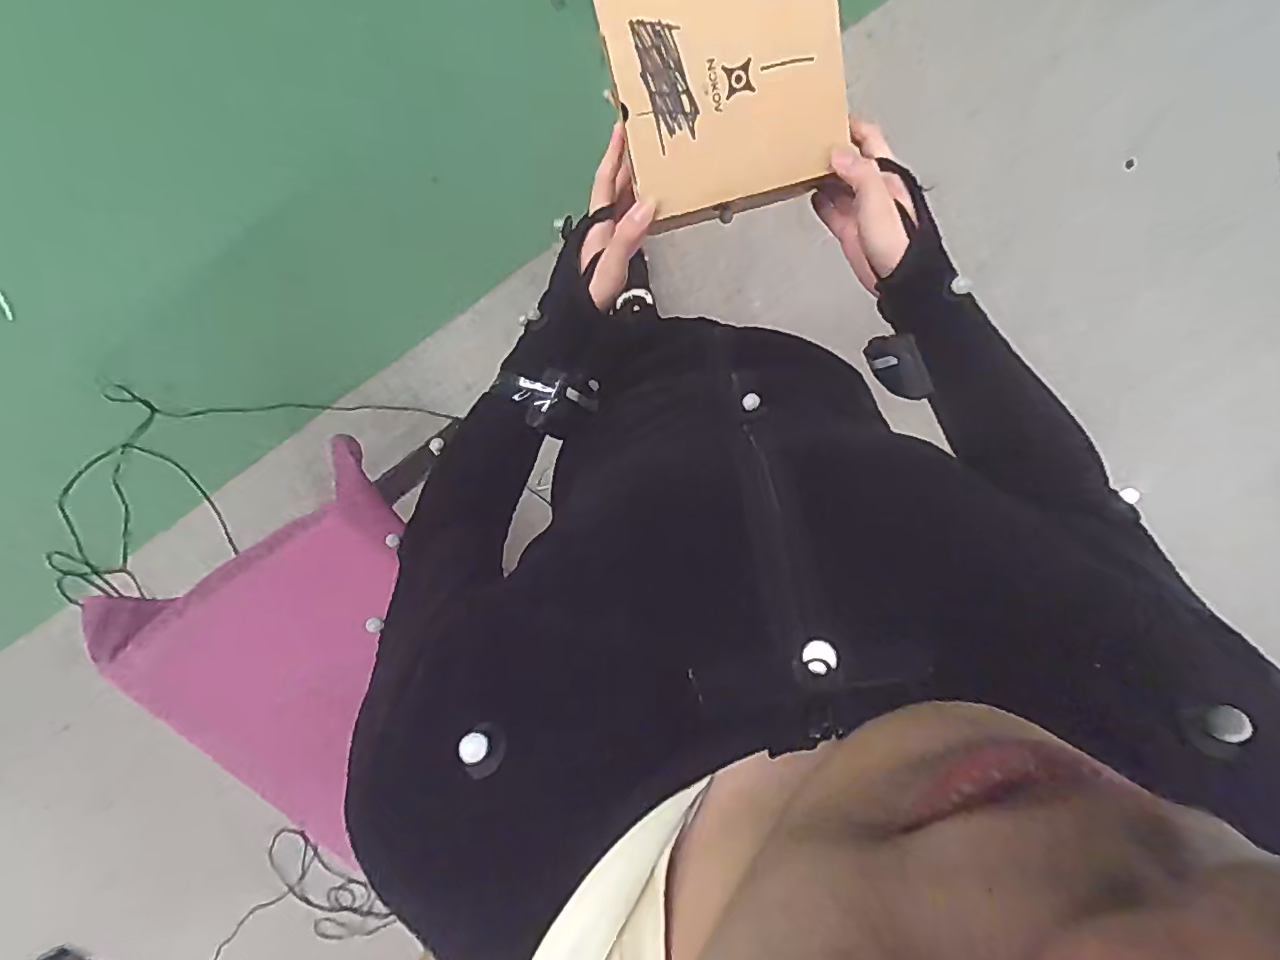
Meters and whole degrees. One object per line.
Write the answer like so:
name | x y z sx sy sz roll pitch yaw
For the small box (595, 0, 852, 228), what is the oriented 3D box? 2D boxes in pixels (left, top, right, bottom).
small box | 0.070 -0.338 0.487 0.179 0.176 0.168 -12 109 6
